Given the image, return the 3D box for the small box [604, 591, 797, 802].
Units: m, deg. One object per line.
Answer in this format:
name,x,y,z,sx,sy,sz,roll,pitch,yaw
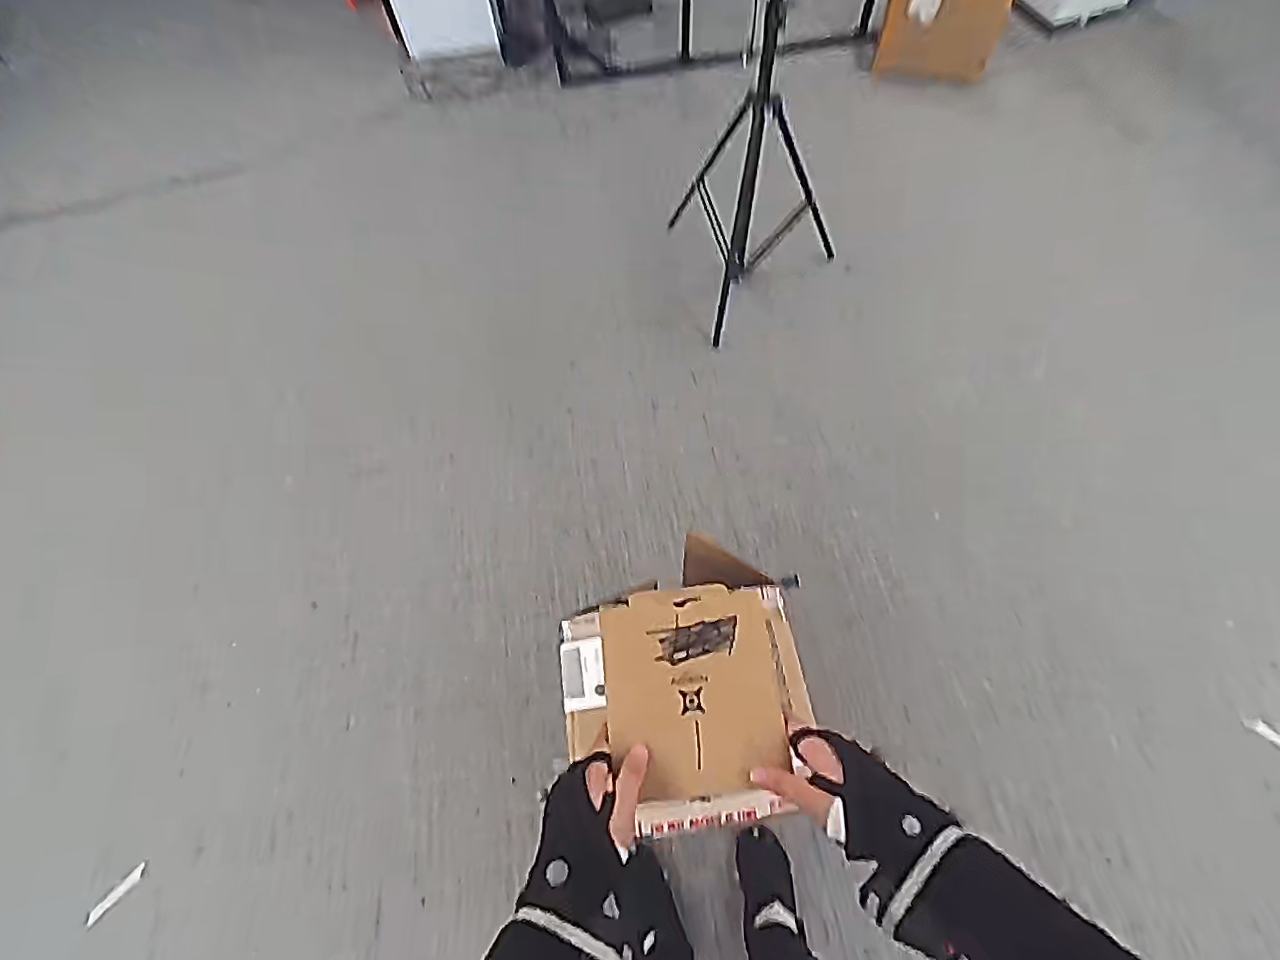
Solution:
small box,0.052,0.229,0.583,0.168,0.176,0.179,-6,67,-1
